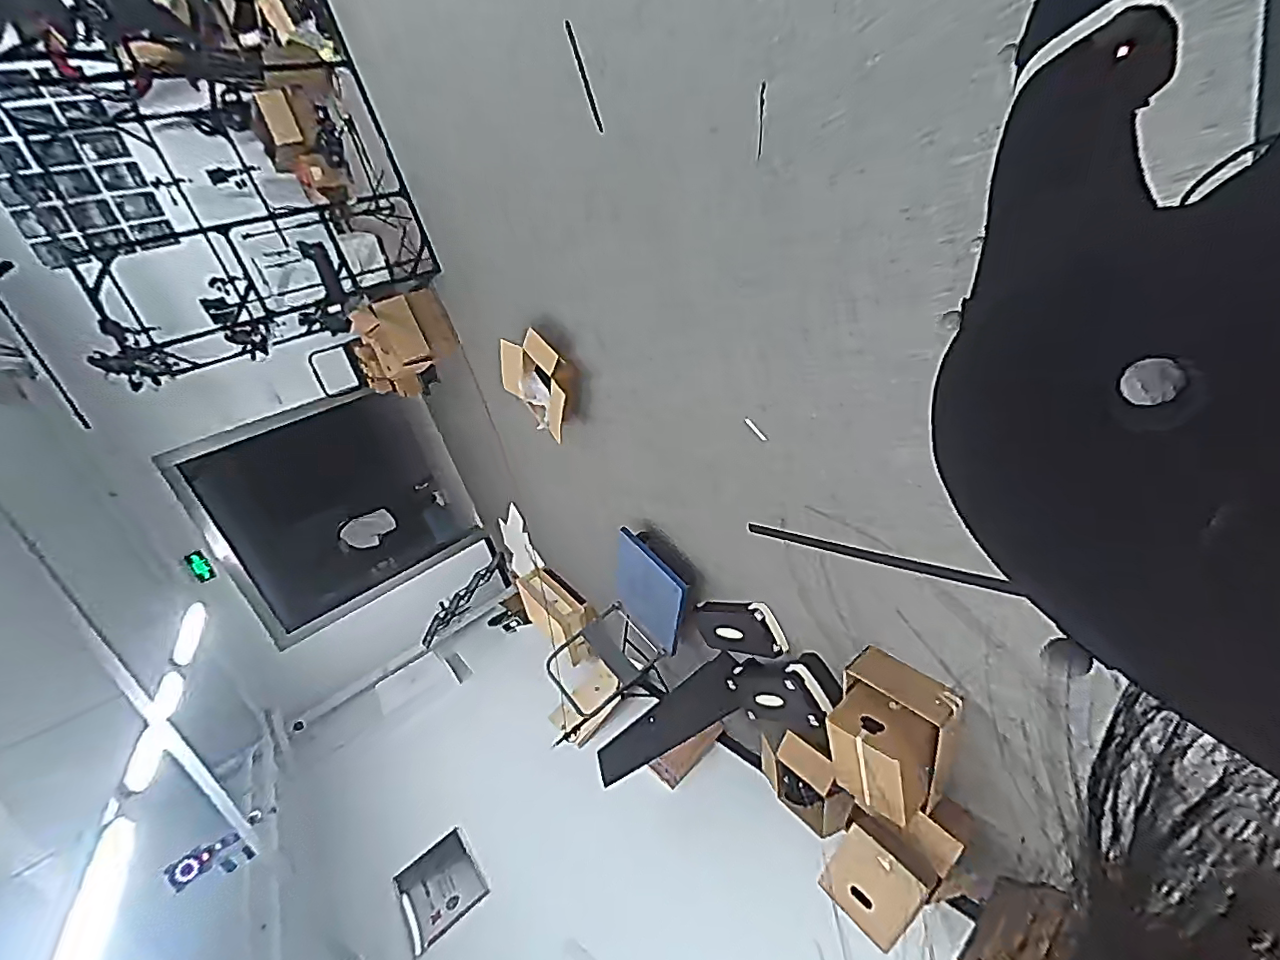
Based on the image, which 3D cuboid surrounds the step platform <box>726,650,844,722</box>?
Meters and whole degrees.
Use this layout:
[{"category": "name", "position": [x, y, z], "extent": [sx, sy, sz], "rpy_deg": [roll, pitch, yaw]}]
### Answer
[{"category": "step platform", "position": [0.735, 1.090, 2.857], "extent": [0.286, 0.204, 0.684], "rpy_deg": [56, 150, 5]}]
